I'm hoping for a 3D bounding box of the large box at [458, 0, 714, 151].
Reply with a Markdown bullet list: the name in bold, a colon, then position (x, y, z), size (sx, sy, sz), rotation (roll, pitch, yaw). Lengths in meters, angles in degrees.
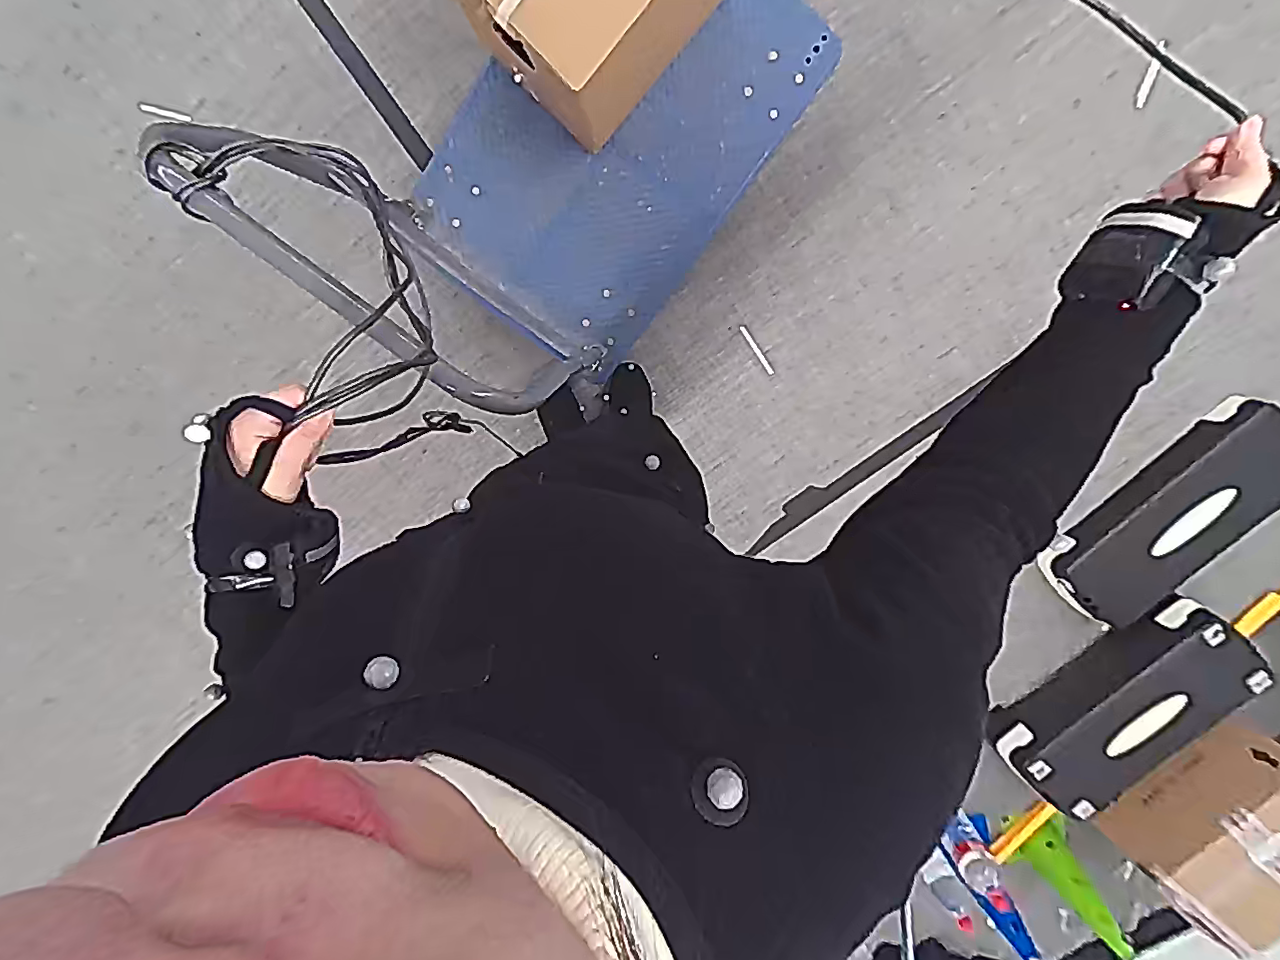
- **large box**: position (-0.079, -0.892, 0.941), size (0.320, 0.320, 0.408), rotation (41, 100, -10)
